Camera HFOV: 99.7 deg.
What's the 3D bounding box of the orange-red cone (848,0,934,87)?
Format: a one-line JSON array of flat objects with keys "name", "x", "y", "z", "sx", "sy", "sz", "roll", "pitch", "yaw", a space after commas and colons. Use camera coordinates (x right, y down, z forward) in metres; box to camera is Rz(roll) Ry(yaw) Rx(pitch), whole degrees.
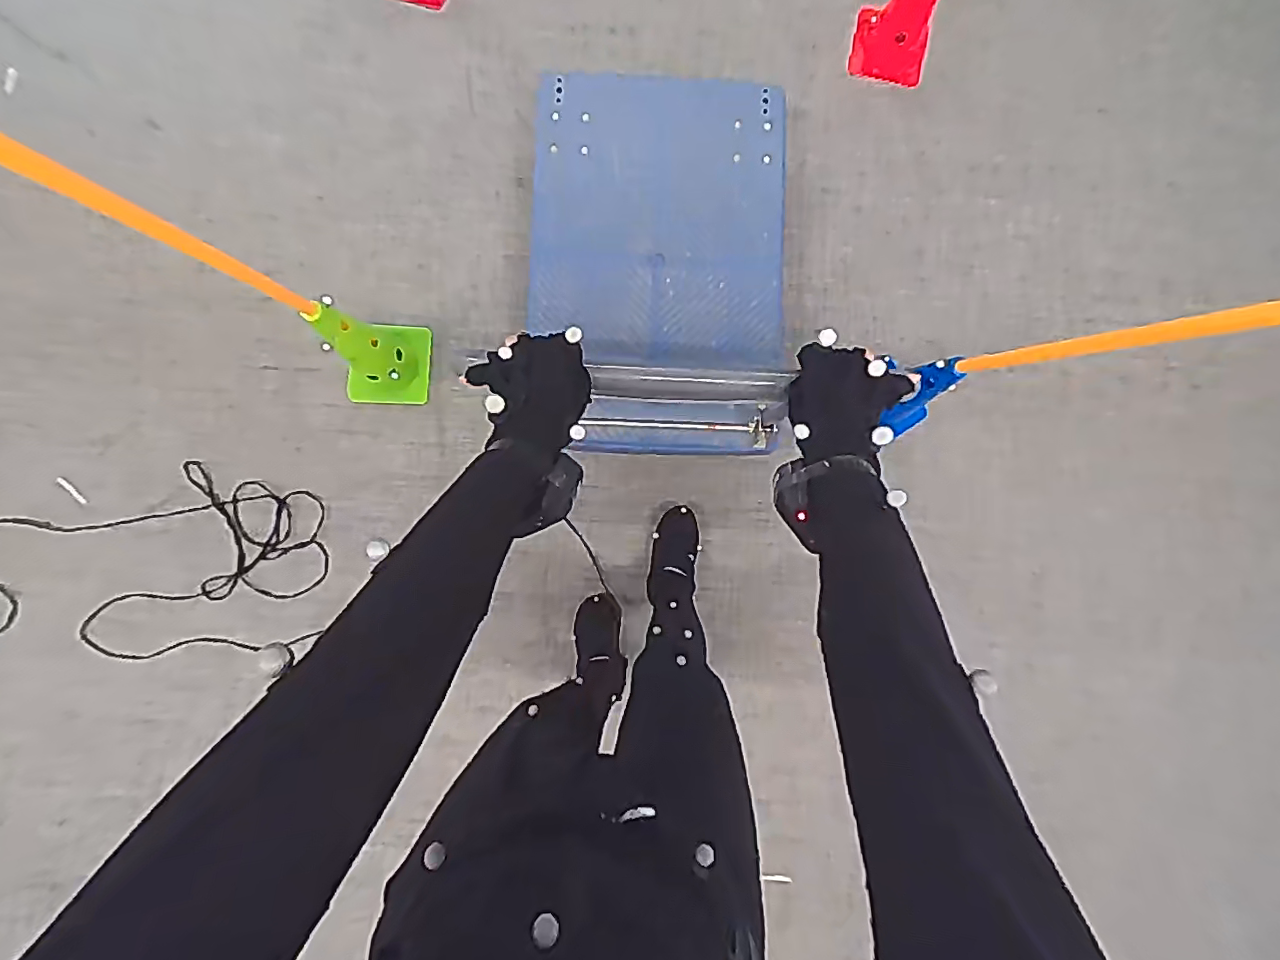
[{"name": "orange-red cone", "x": 0.679, "y": -1.187, "z": 1.299, "sx": 0.198, "sy": 0.360, "sz": 0.199, "roll": 14, "pitch": 86, "yaw": 0}]
